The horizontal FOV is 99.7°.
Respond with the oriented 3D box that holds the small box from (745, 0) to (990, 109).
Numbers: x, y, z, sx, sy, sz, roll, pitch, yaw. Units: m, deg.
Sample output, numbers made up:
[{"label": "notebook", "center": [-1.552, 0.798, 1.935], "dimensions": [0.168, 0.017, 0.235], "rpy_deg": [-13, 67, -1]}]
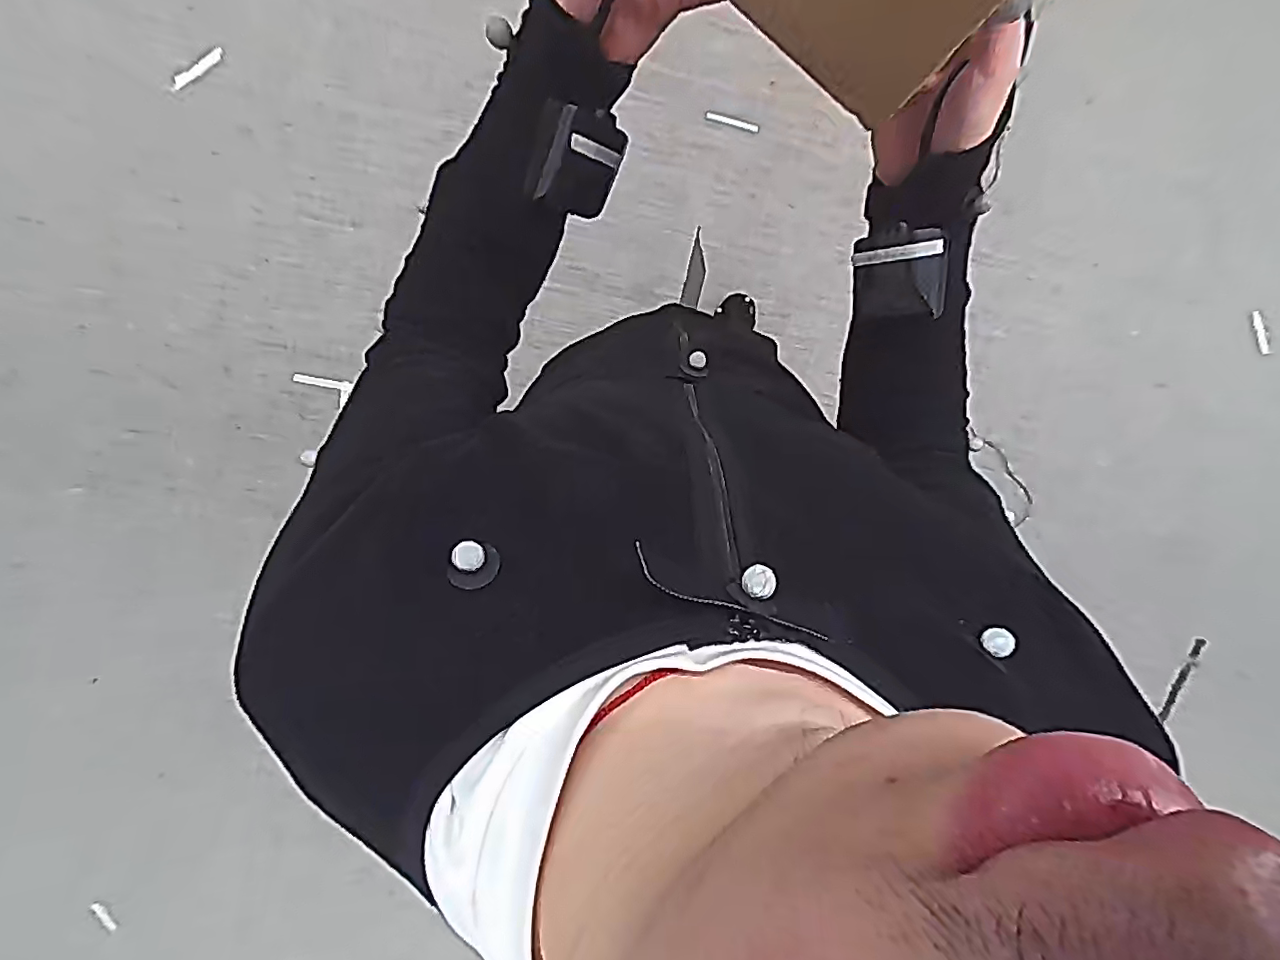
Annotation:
[{"label": "small box", "center": [0.122, -0.309, 0.228], "dimensions": [0.179, 0.176, 0.168], "rpy_deg": [37, 101, -7]}]
